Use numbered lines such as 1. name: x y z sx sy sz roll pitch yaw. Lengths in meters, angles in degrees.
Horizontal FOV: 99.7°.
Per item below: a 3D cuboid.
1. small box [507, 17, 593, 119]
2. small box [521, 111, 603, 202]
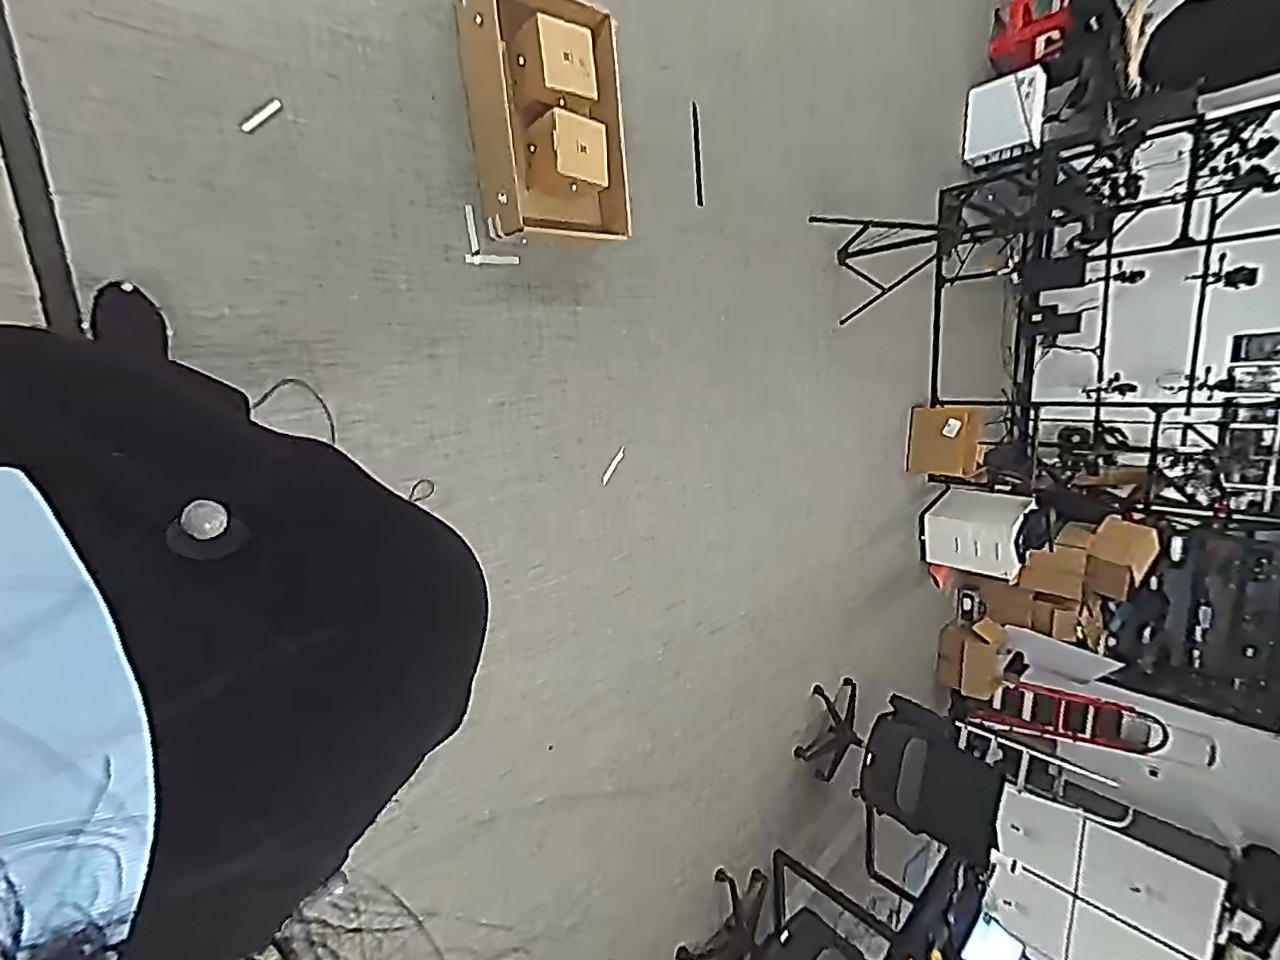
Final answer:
1. small box: -0.257 -1.133 1.506 0.179 0.176 0.168 -18 110 -40
2. small box: -0.227 -0.926 1.569 0.179 0.176 0.168 -9 102 -41
